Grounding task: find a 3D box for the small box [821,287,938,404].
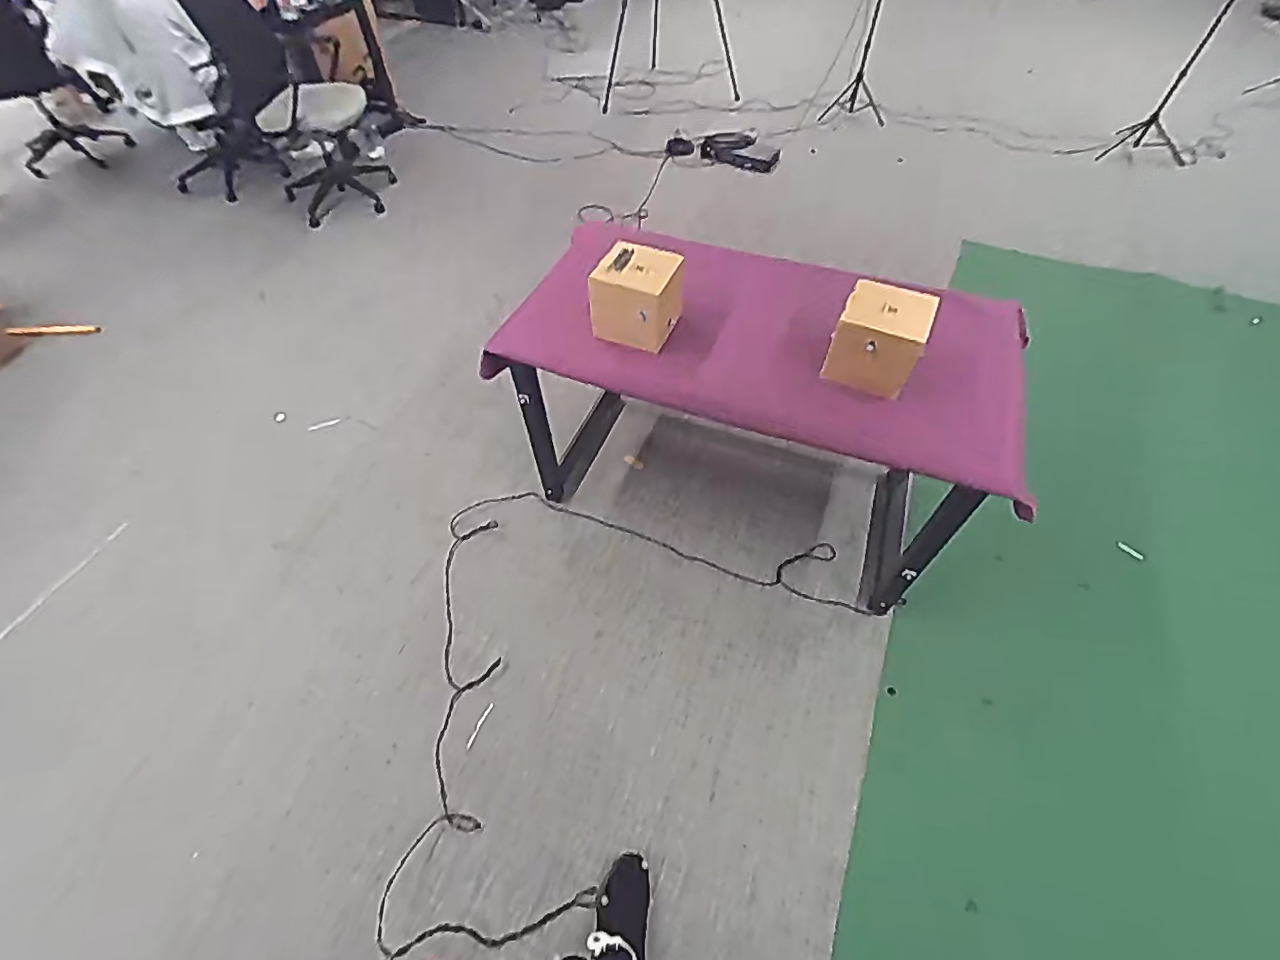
[{"bbox_3d":[0.531,-0.296,1.212,0.179,0.176,0.168,22,57,17],"label":"small box"}]
